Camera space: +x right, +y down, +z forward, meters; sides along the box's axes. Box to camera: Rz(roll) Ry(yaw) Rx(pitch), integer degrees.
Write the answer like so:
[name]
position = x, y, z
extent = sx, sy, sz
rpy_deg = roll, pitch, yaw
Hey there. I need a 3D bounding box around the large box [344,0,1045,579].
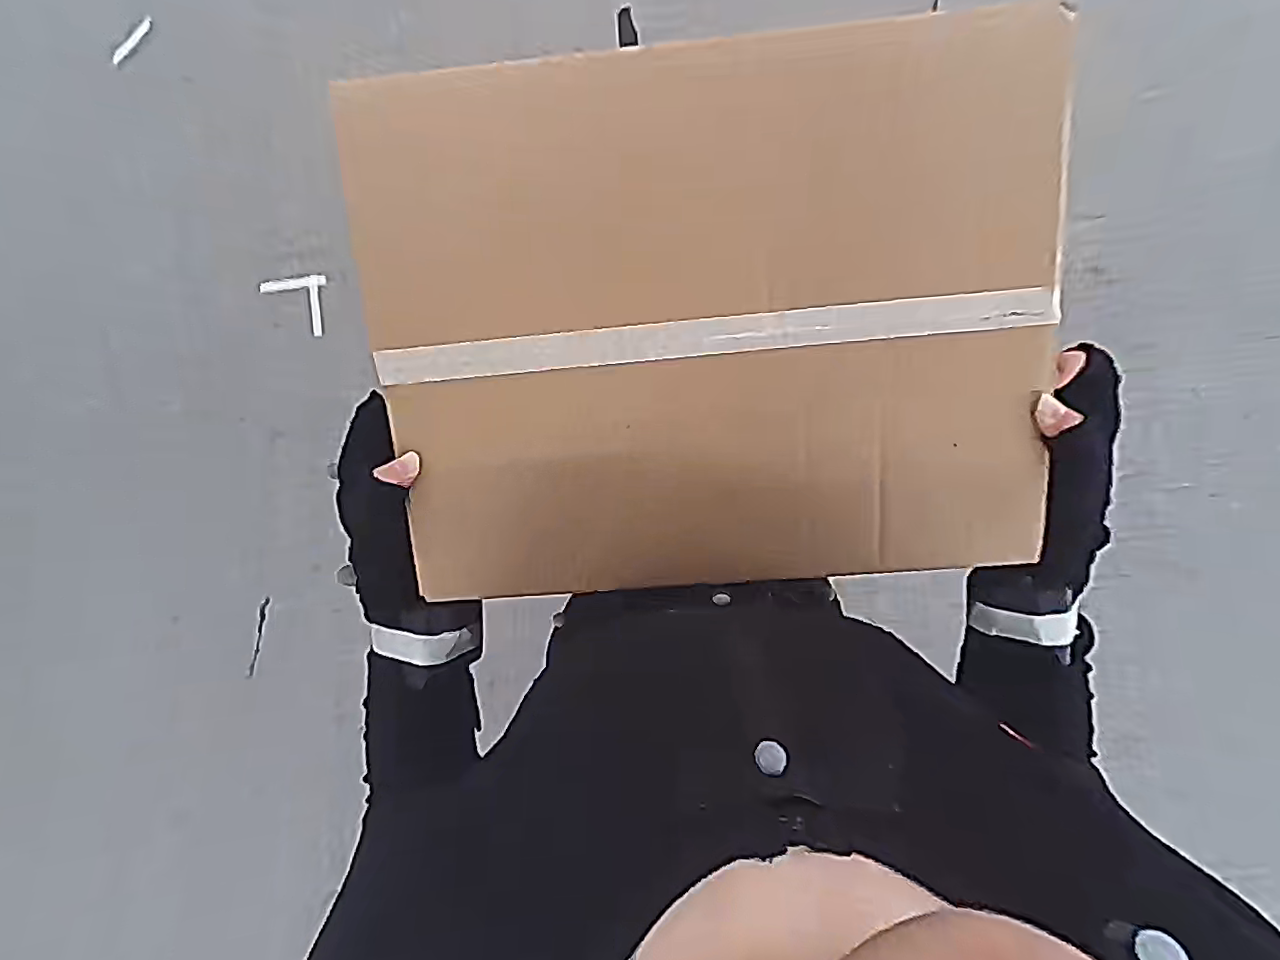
[large box]
position = 0.041, -0.129, 0.479
extent = 0.408, 0.320, 0.320
rpy_deg = -5, 103, 3
